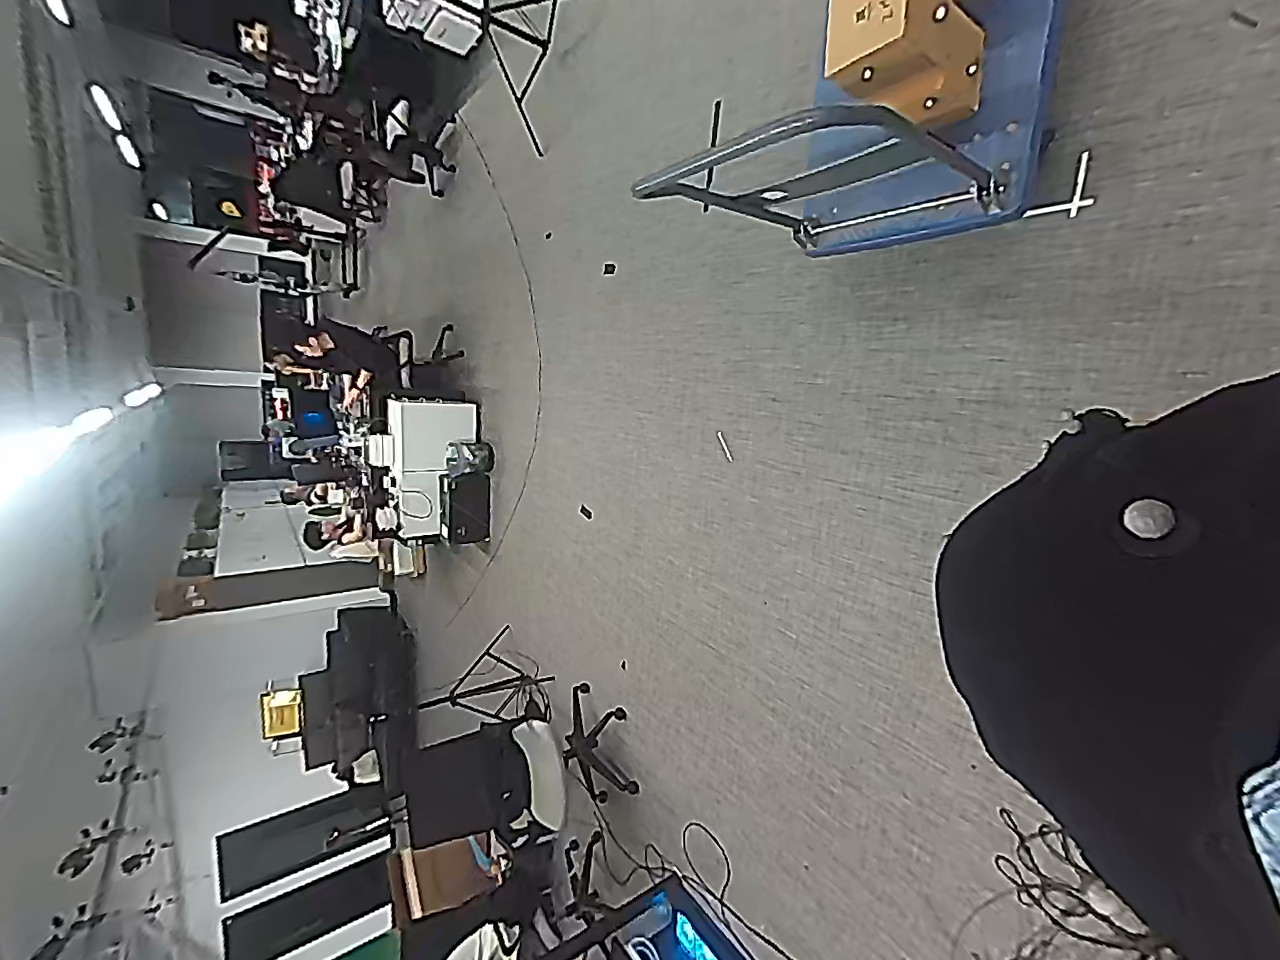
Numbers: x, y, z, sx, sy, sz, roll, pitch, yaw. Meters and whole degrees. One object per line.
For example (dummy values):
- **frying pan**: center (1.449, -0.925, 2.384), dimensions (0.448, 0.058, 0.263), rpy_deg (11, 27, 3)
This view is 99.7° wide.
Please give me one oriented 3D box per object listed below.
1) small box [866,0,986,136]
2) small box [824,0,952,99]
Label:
- **small box**: center (0.638, -0.911, 1.212), dimensions (0.179, 0.176, 0.168), rpy_deg (10, 101, 52)
- **small box**: center (0.508, -0.928, 1.110), dimensions (0.179, 0.176, 0.168), rpy_deg (11, 102, 52)
